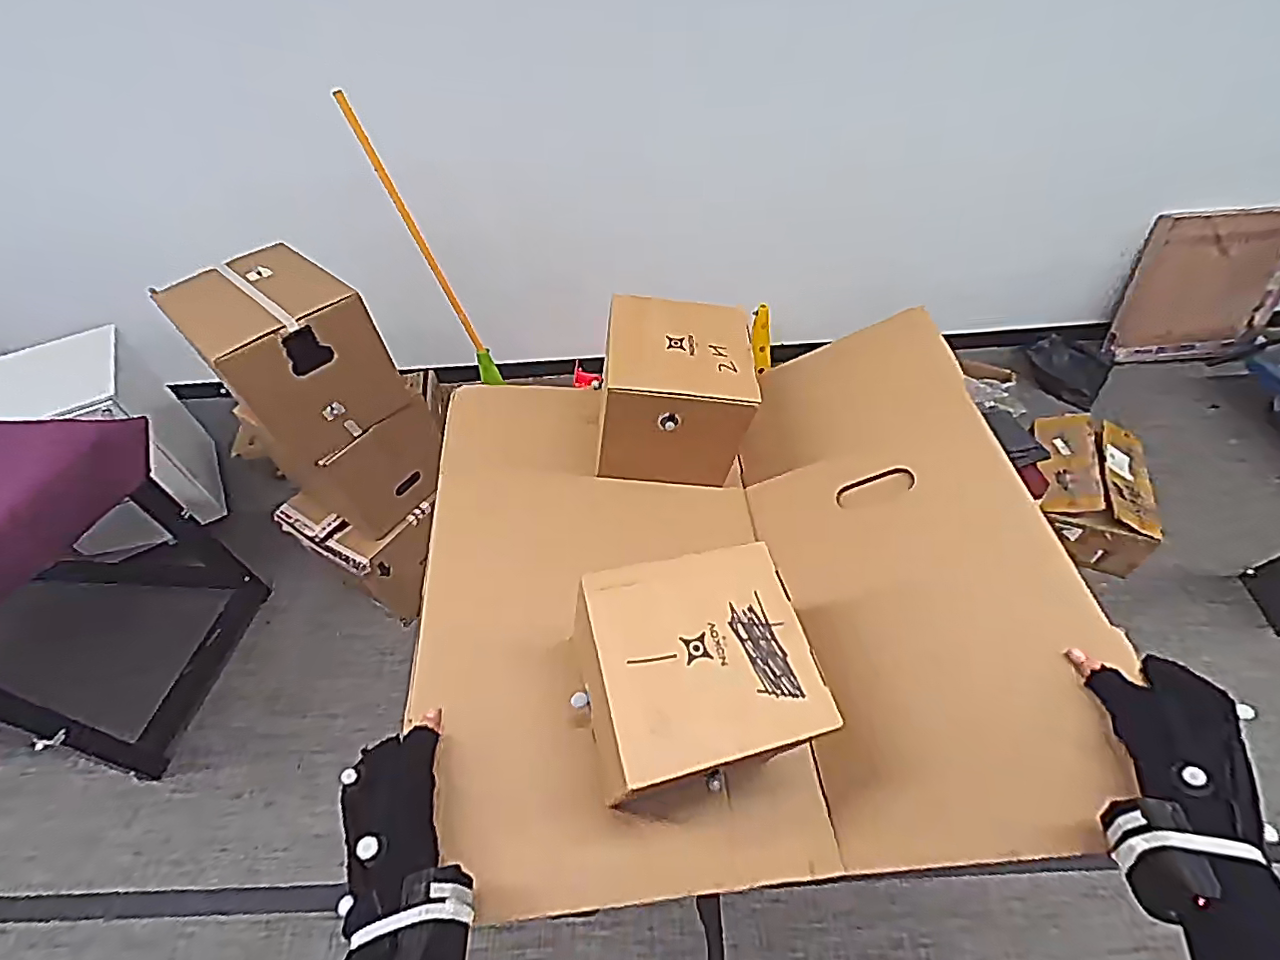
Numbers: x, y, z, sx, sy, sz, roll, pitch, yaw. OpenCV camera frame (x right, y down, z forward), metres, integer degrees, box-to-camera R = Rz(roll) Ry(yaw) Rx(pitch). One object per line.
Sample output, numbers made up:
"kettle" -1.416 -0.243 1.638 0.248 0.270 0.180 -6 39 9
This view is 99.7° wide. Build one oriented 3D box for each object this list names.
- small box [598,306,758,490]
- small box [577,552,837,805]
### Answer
"small box" 0.039 -0.101 0.711 0.179 0.176 0.168 5 55 -6
"small box" 0.043 0.188 0.508 0.179 0.176 0.168 -8 57 -14
